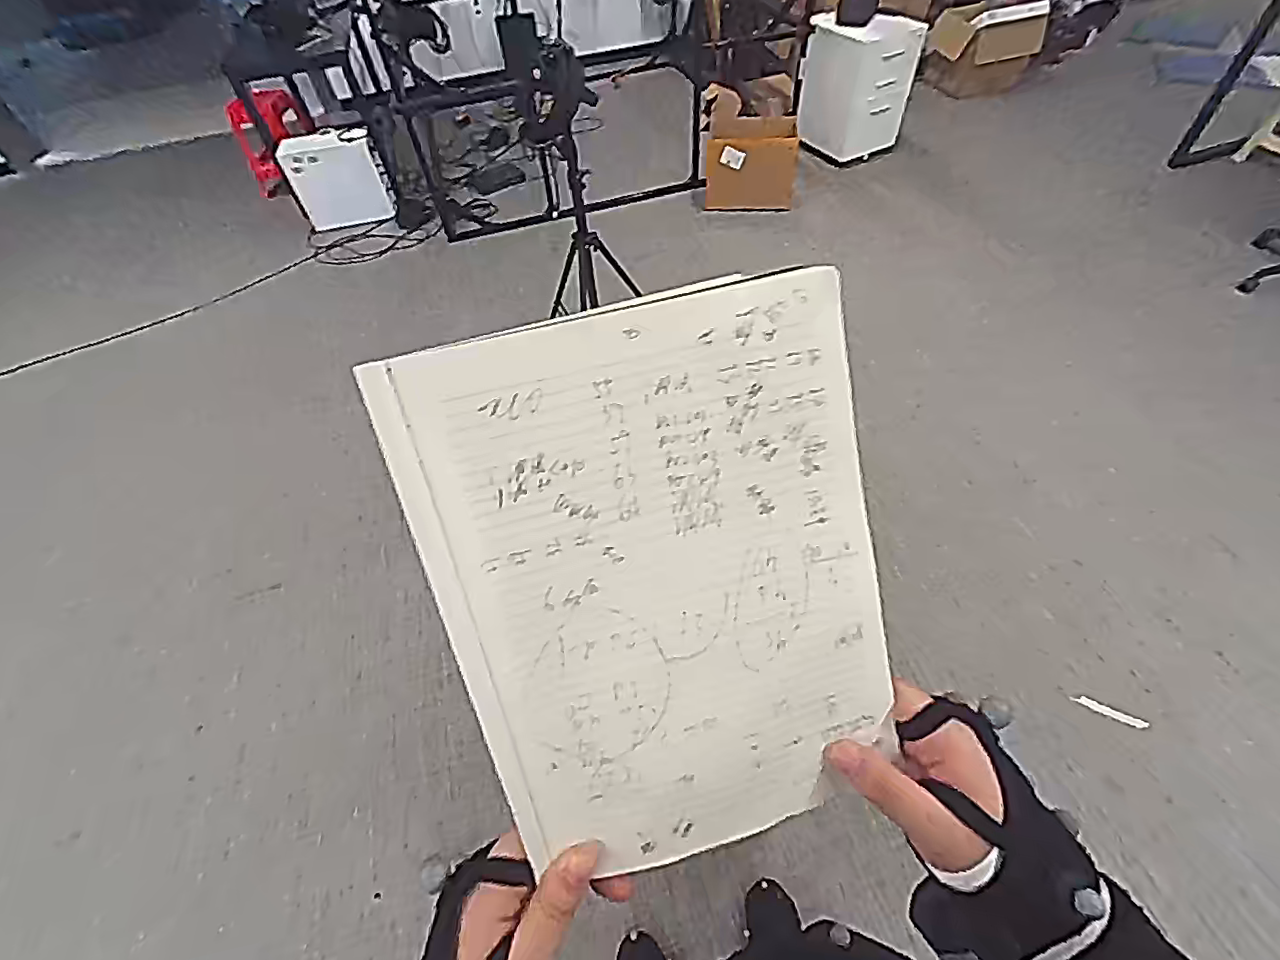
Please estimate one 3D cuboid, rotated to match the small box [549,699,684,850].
[{"bbox_3d":[-0.033,0.453,0.827,0.179,0.176,0.168,-11,54,-2],"label":"small box"}]
